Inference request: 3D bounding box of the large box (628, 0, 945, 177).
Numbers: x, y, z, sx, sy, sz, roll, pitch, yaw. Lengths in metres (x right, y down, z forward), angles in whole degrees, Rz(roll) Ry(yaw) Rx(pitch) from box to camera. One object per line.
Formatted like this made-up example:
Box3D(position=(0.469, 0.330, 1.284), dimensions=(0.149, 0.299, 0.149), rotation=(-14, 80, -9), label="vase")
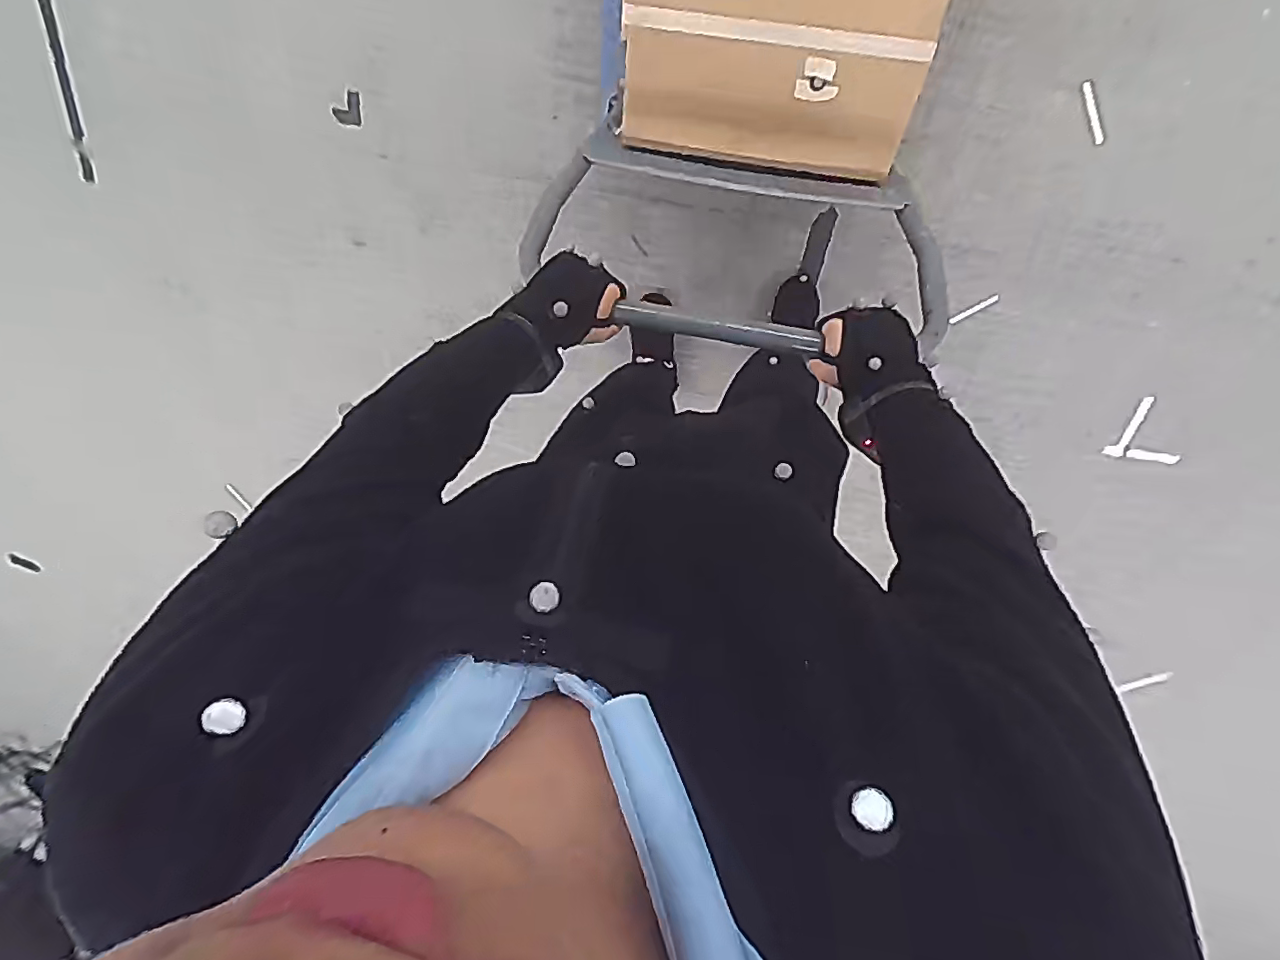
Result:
Box3D(position=(0.207, -0.700, 0.838), dimensions=(0.408, 0.320, 0.320), rotation=(10, 134, 2), label="large box")
